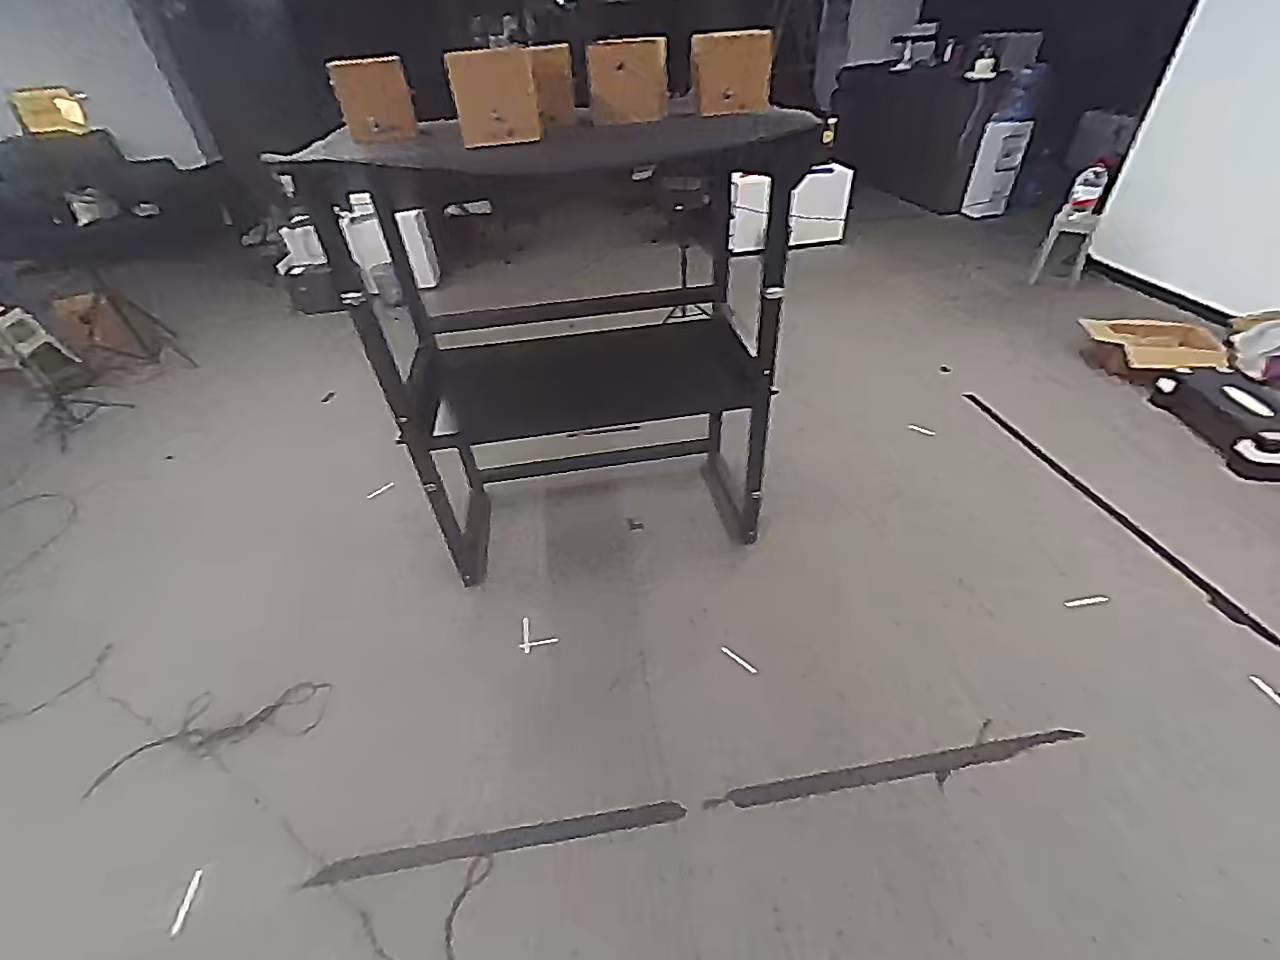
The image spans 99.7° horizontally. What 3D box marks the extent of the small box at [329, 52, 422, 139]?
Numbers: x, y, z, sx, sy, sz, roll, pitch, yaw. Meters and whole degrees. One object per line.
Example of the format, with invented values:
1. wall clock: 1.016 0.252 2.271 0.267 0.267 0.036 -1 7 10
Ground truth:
1. small box: -0.678 -0.999 1.405 0.168 0.176 0.179 -15 42 -11

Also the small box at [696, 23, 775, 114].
1. small box: 0.231 -1.029 1.356 0.168 0.176 0.179 -5 40 0

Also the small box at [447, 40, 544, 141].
1. small box: -0.313 -0.868 1.210 0.168 0.176 0.179 -7 38 -1
